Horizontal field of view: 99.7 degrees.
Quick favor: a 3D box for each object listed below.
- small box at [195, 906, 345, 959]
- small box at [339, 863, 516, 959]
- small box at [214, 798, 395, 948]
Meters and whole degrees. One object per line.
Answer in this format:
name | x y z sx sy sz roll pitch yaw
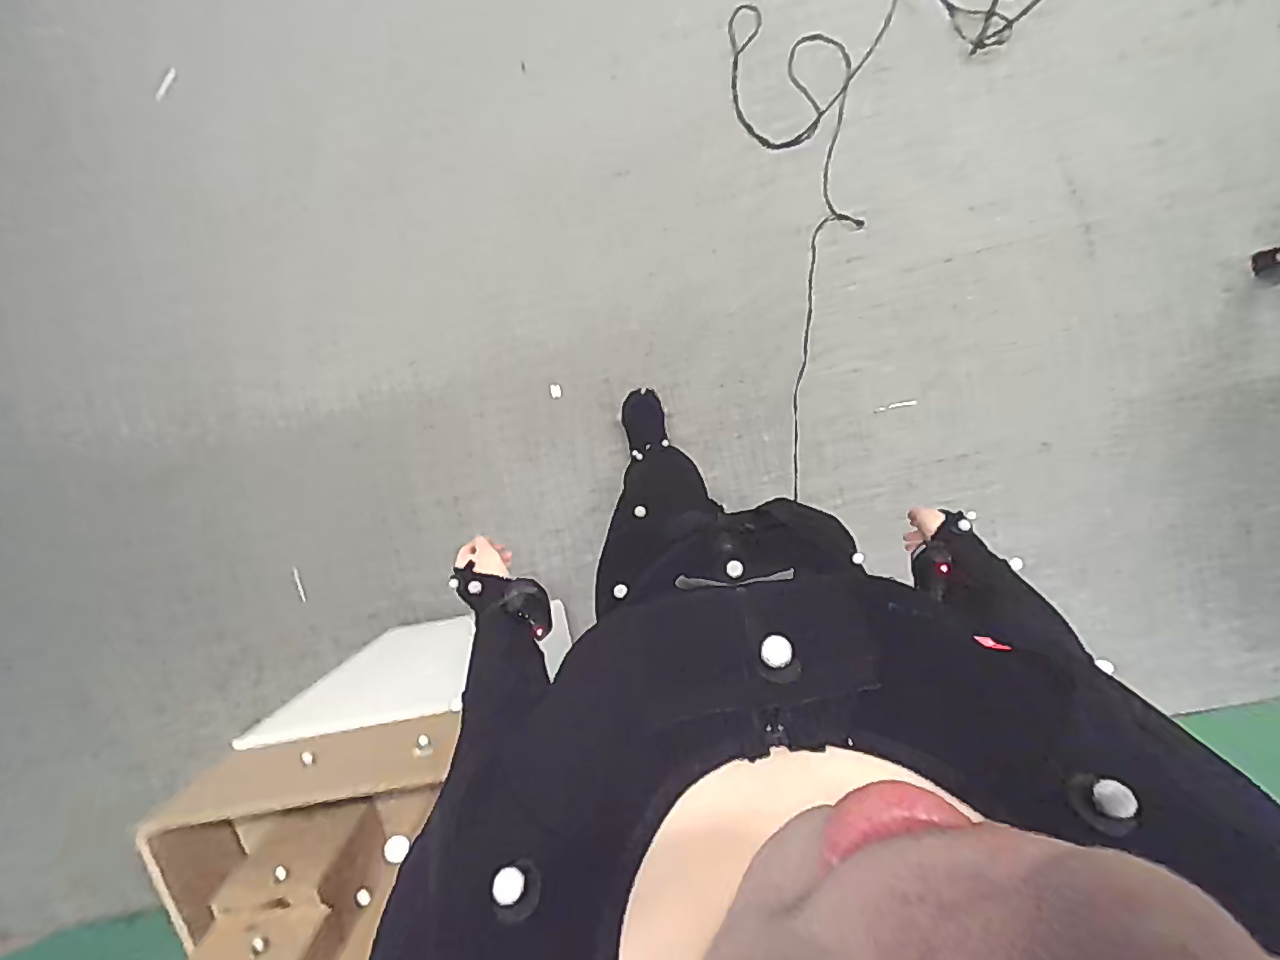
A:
small box | -0.516 0.727 0.729 0.168 0.176 0.179 -7 101 3
small box | -0.274 0.649 0.705 0.168 0.176 0.179 -10 101 3
small box | -0.528 0.665 0.882 0.168 0.176 0.179 -11 102 1
